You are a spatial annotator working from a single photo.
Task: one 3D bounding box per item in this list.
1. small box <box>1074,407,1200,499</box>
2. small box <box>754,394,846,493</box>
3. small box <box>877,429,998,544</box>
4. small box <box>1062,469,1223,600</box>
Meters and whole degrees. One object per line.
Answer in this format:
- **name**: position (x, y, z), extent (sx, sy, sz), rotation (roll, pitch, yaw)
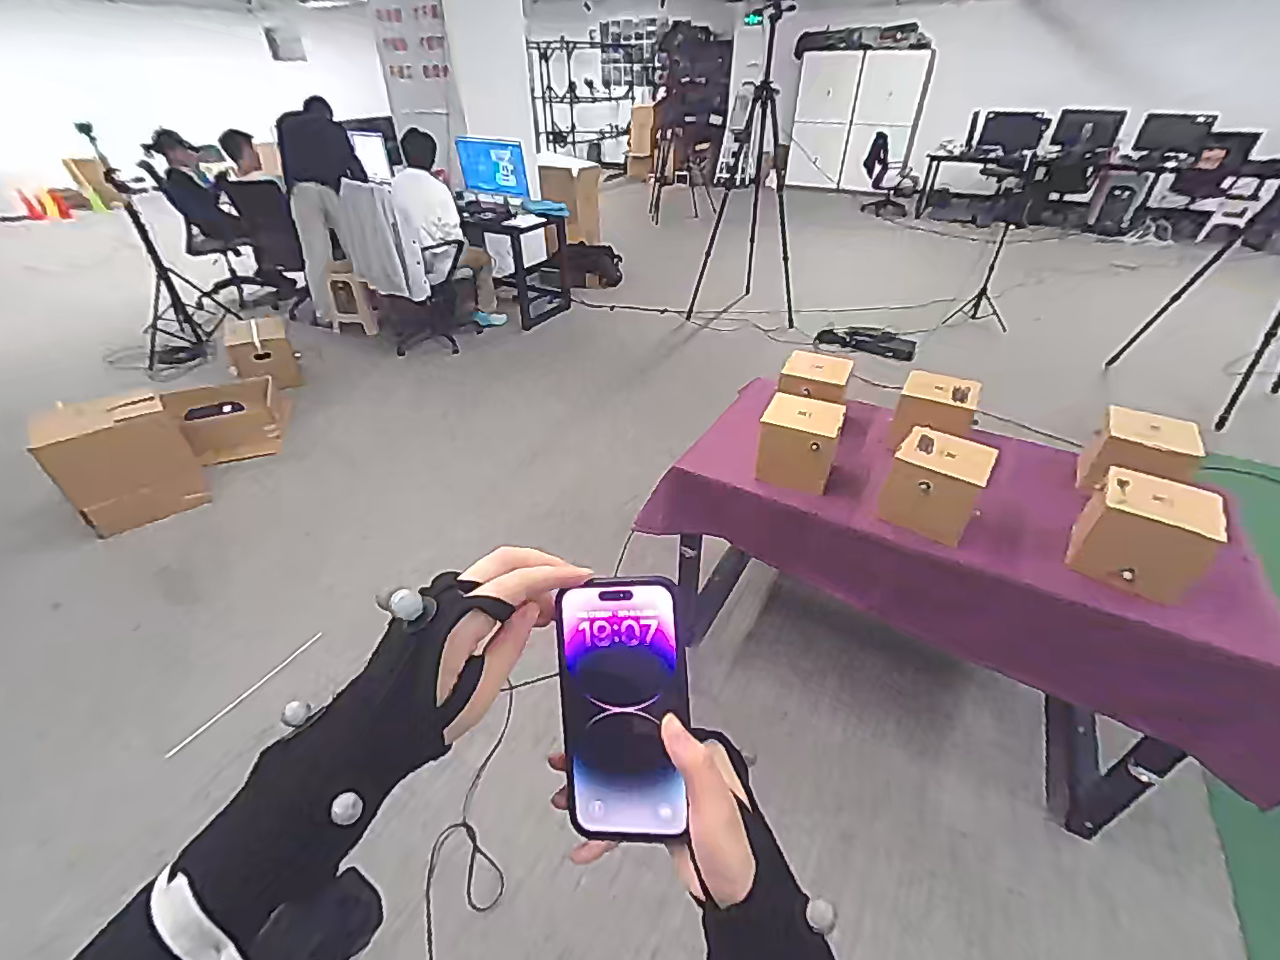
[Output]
- **small box**: position (1.164, -0.044, 1.281), extent (0.168, 0.176, 0.179), rotation (22, 42, 28)
- **small box**: position (0.394, -0.090, 1.343), extent (0.179, 0.176, 0.168), rotation (17, 39, 19)
- **small box**: position (0.654, 0.014, 1.203), extent (0.179, 0.176, 0.168), rotation (25, 43, 28)
- **small box**: position (0.988, 0.111, 1.073), extent (0.179, 0.176, 0.168), rotation (25, 43, 30)
